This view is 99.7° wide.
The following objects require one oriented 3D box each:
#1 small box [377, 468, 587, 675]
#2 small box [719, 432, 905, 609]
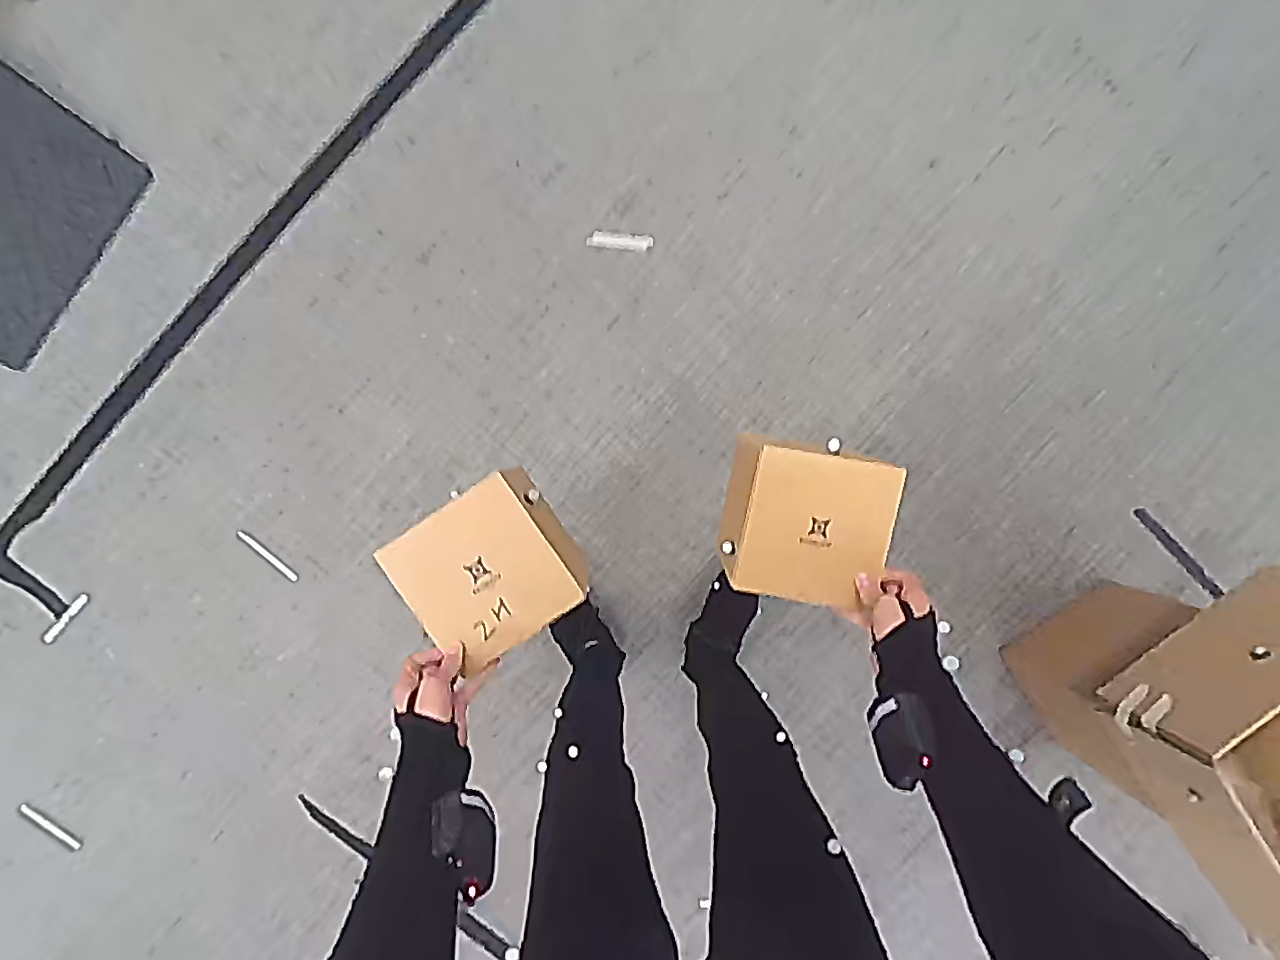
[{"bbox_3d":[-0.180,0.099,0.673,0.168,0.176,0.179,-33,95,-1],"label":"small box"},{"bbox_3d":[0.202,0.039,0.691,0.168,0.176,0.179,9,101,0],"label":"small box"}]
